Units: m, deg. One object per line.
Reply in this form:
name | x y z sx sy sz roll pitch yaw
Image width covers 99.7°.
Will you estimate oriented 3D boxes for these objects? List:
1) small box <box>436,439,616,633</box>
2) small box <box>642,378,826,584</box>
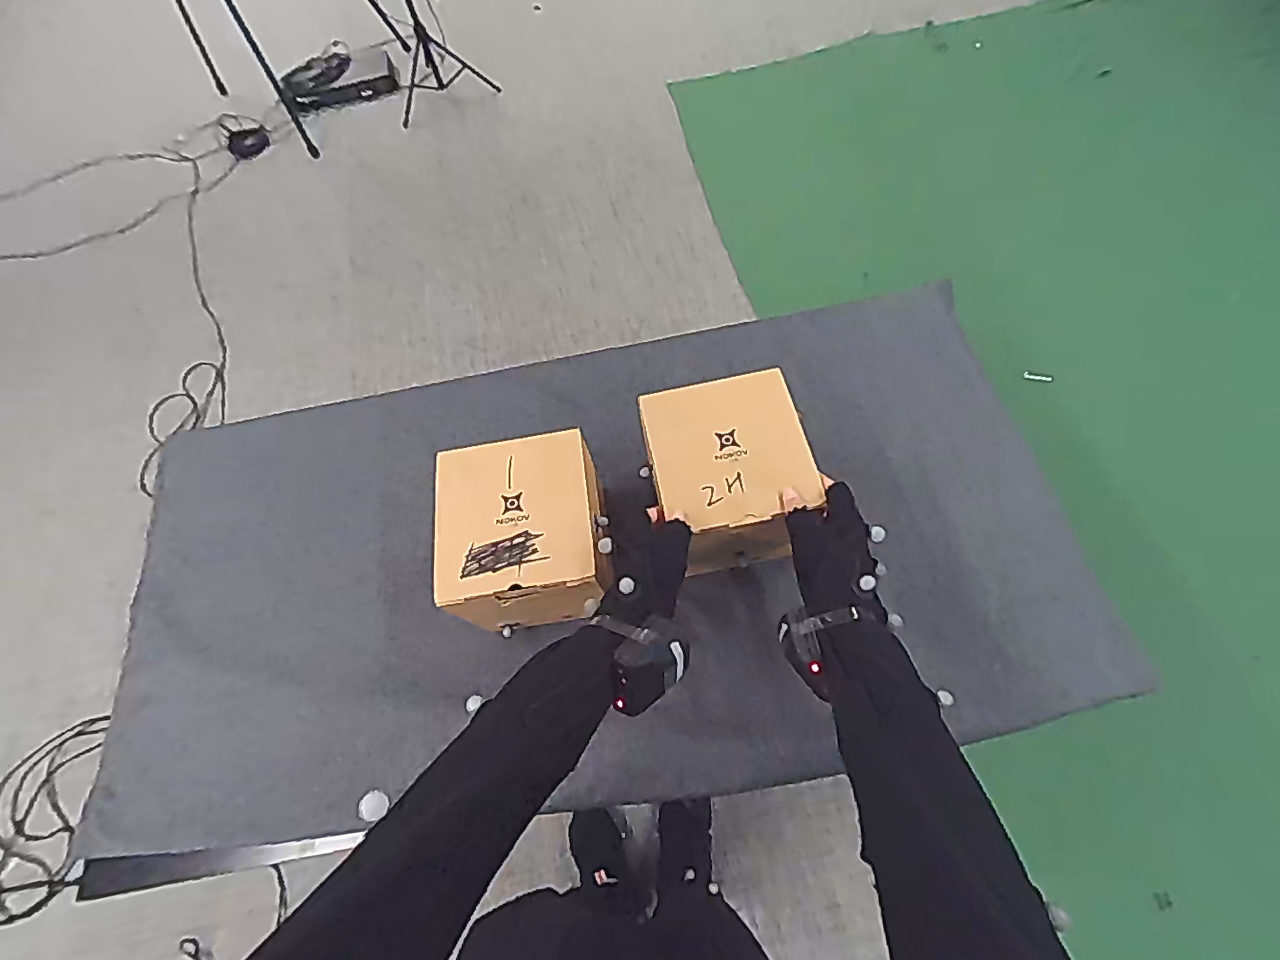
small box | -0.126 0.077 0.643 0.168 0.176 0.179 -9 63 1
small box | 0.101 0.009 0.653 0.168 0.176 0.179 -12 65 1
